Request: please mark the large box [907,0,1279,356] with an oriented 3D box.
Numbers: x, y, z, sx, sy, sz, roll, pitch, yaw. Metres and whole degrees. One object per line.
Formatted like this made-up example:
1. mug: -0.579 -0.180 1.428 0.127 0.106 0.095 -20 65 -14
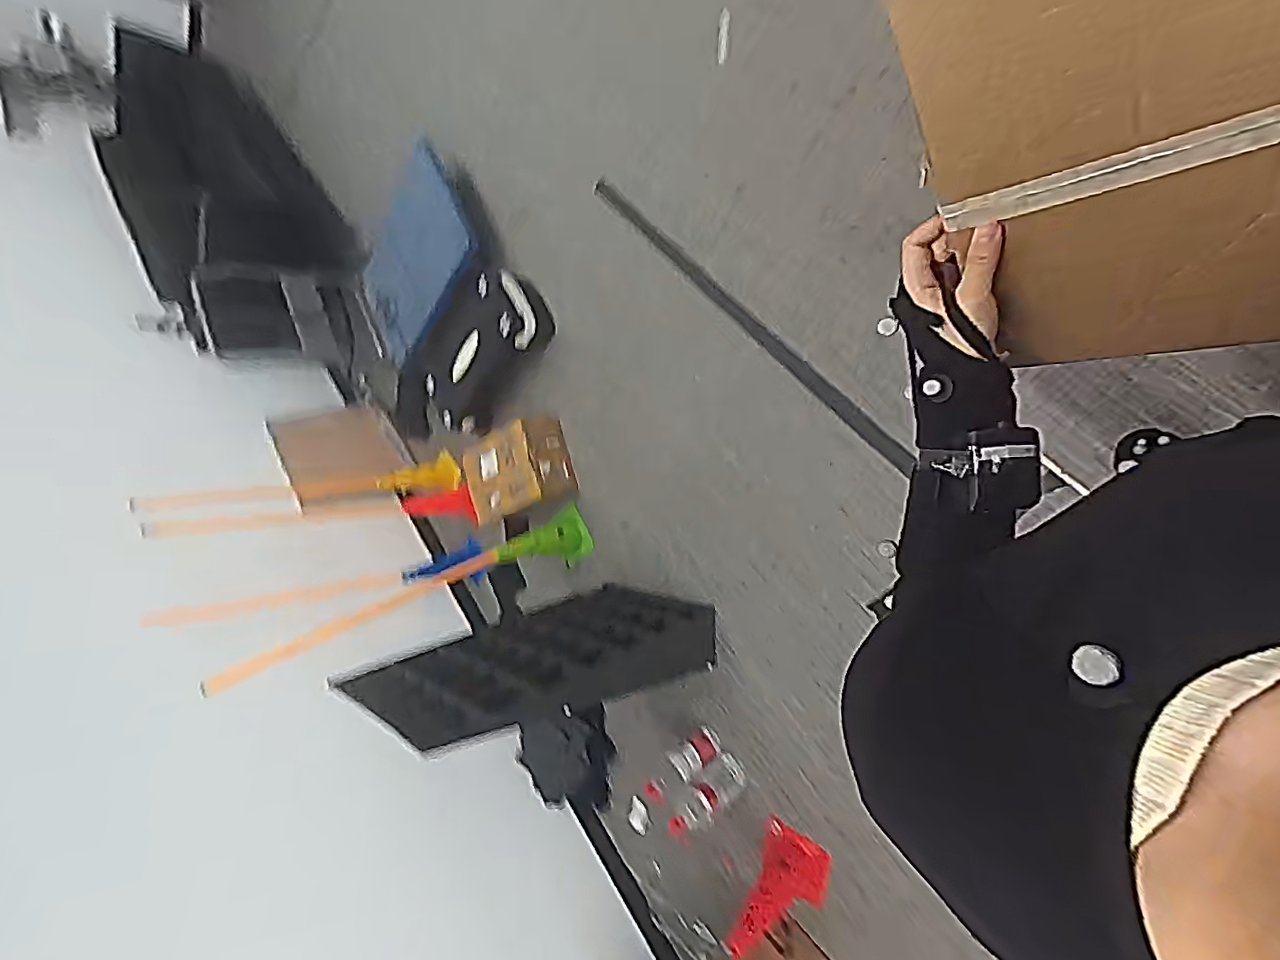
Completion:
1. large box: 0.417 -0.309 0.282 0.408 0.320 0.320 2 58 46
